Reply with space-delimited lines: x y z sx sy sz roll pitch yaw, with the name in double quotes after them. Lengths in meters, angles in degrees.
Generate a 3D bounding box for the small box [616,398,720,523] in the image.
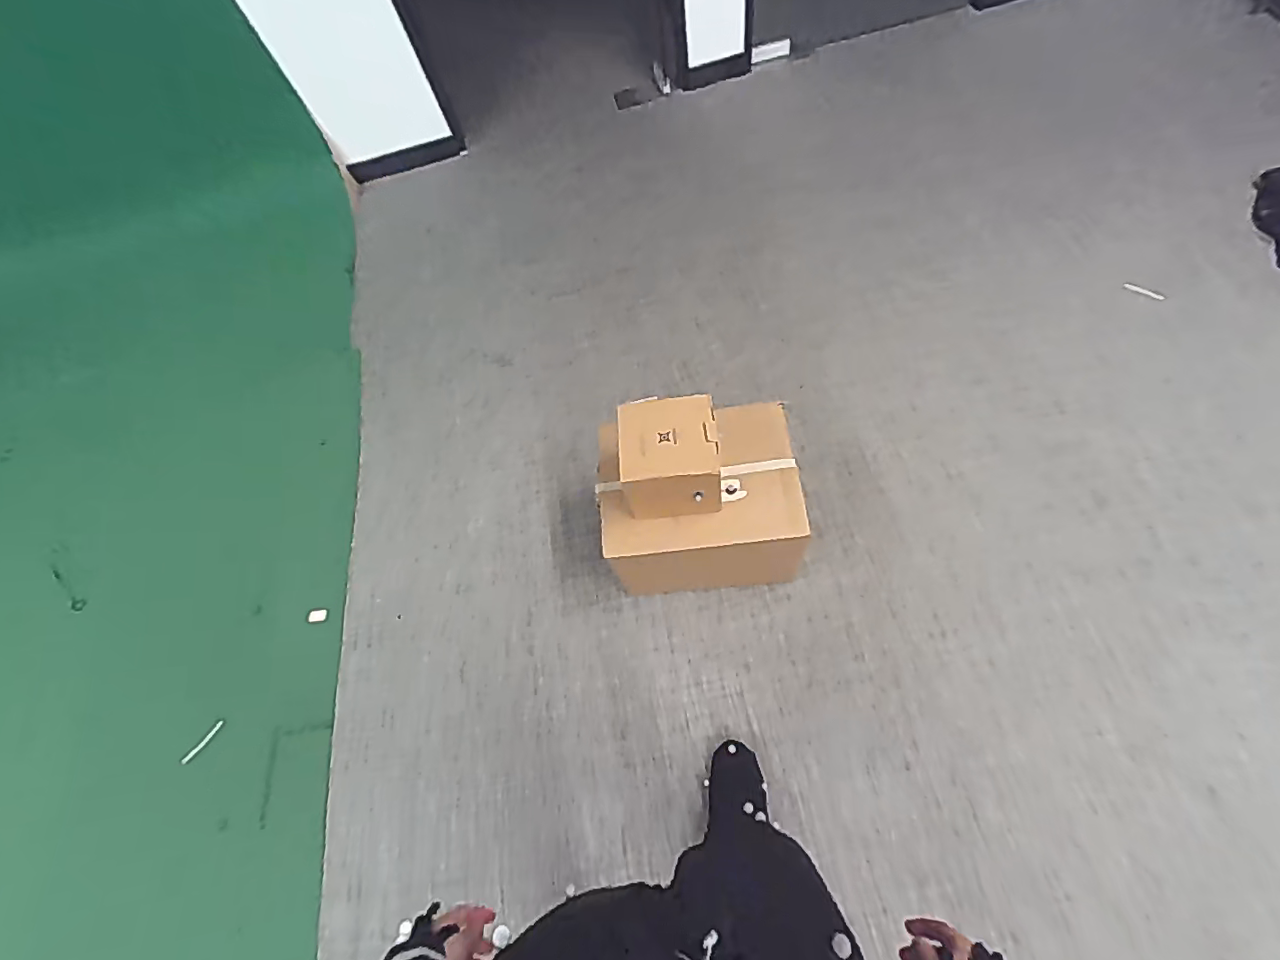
0.057 -0.031 1.024 0.179 0.176 0.168 -7 61 7 "small box"

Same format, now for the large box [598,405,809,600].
0.132 0.066 1.238 0.408 0.320 0.320 -7 64 4 "large box"
